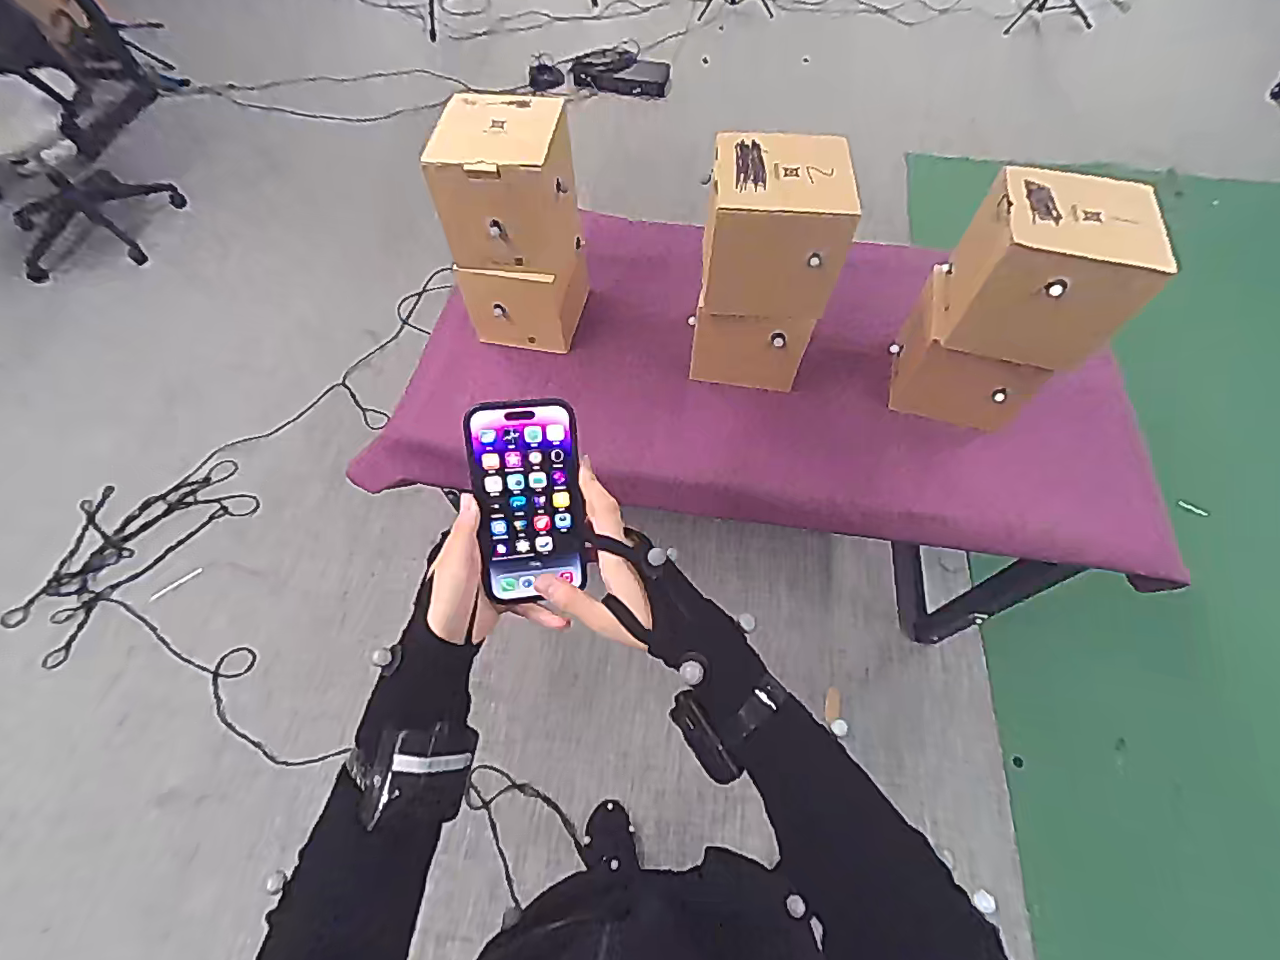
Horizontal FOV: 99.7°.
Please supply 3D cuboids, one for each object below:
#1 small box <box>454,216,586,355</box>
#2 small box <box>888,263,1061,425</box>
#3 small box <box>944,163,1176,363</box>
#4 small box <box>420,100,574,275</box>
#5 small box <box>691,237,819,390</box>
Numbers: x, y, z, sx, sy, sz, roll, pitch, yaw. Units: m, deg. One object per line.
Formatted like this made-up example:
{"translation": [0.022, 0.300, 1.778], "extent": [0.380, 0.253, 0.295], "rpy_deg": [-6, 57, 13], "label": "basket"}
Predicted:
{"translation": [-0.196, -0.342, 0.948], "extent": [0.168, 0.176, 0.179], "rpy_deg": [9, 60, 6], "label": "small box"}
{"translation": [0.517, -0.208, 0.854], "extent": [0.179, 0.176, 0.168], "rpy_deg": [14, 61, 9], "label": "small box"}
{"translation": [0.520, -0.276, 0.704], "extent": [0.179, 0.176, 0.168], "rpy_deg": [14, 61, 8], "label": "small box"}
{"translation": [-0.198, -0.432, 0.810], "extent": [0.168, 0.176, 0.179], "rpy_deg": [5, 61, 3], "label": "small box"}
{"translation": [0.185, -0.269, 0.895], "extent": [0.179, 0.176, 0.168], "rpy_deg": [8, 60, 6], "label": "small box"}
